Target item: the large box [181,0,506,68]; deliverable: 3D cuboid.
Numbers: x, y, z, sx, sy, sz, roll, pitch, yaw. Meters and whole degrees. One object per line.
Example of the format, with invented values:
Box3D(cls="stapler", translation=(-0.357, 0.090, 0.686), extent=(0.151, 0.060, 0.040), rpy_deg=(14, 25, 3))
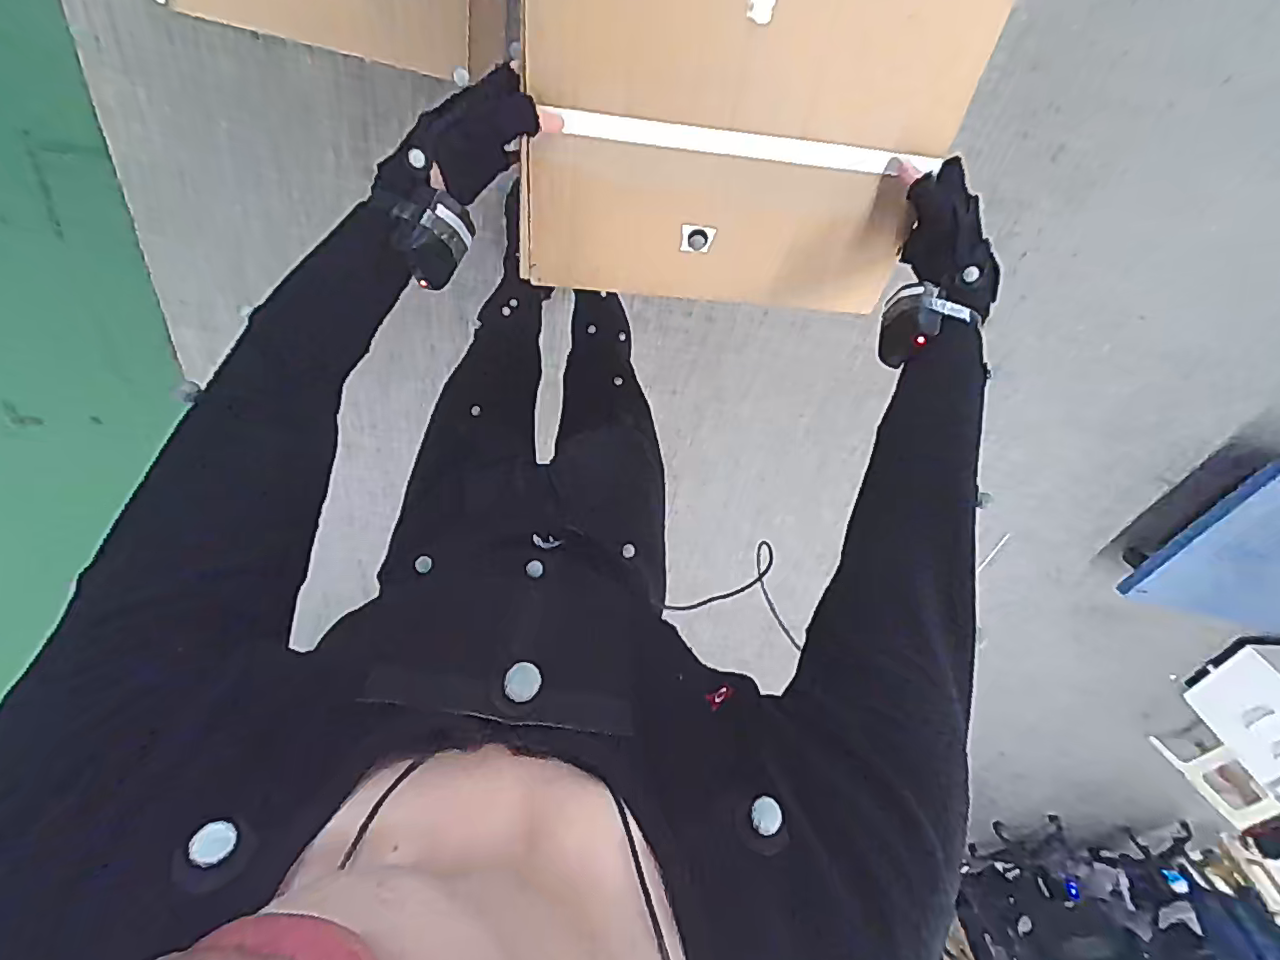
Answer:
Box3D(cls="large box", translation=(-0.417, -0.839, 0.788), extent=(0.408, 0.320, 0.320), rpy_deg=(9, 127, -9))
